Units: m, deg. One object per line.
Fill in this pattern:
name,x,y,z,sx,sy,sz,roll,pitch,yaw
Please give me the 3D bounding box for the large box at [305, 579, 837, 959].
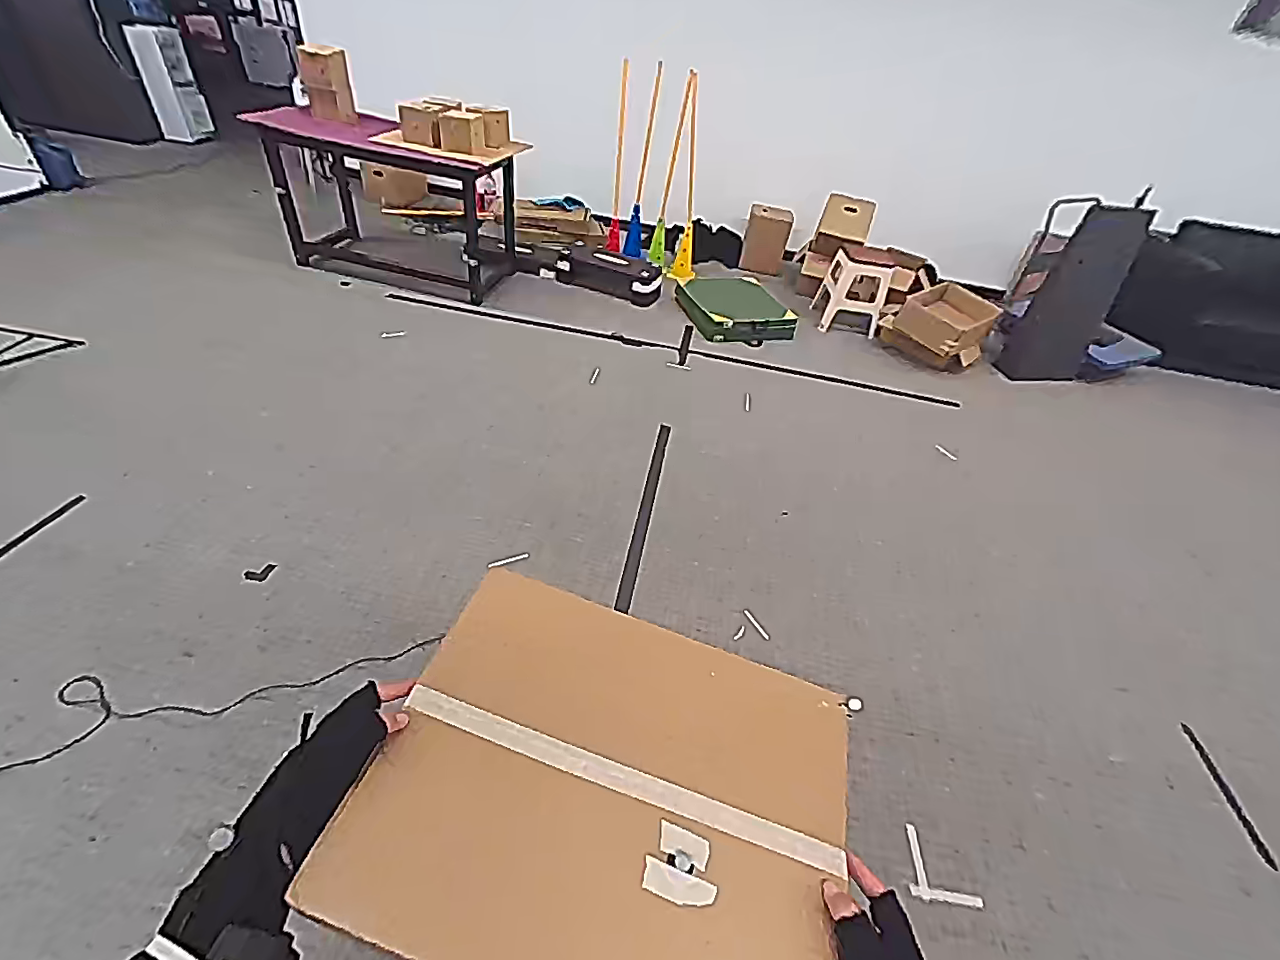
large box,-0.048,0.372,0.586,0.408,0.320,0.320,20,45,4
